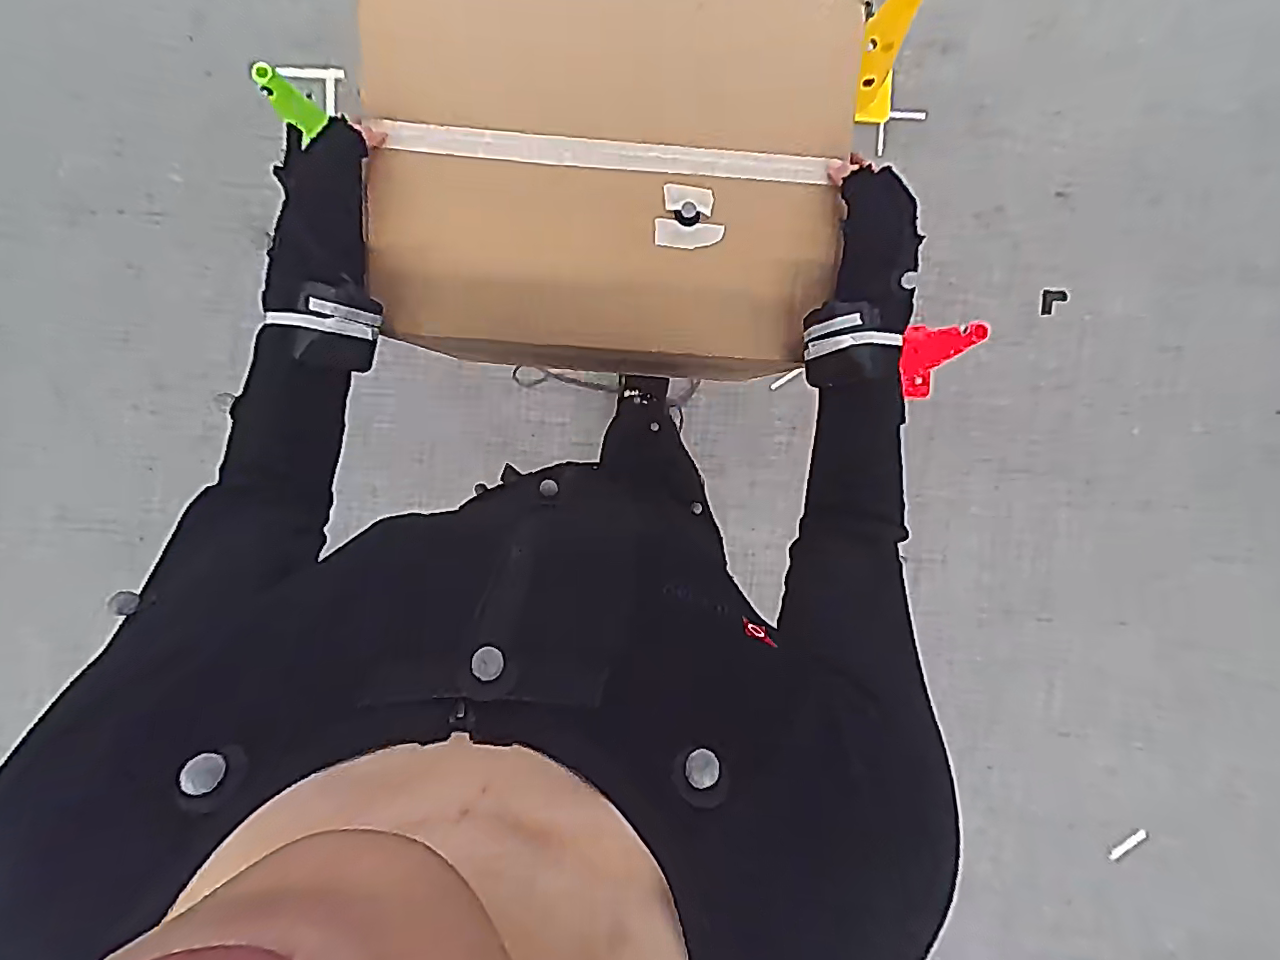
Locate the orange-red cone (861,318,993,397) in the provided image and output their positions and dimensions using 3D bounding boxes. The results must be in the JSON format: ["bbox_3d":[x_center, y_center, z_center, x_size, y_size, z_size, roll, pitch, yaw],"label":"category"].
[{"bbox_3d":[0.709,-0.326,1.303,0.198,0.360,0.199,1,91,-3],"label":"orange-red cone"}]

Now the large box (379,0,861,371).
[{"bbox_3d":[-0.028,-0.298,0.606,0.408,0.320,0.320,3,98,-4],"label":"large box"}]

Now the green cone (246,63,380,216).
[{"bbox_3d":[-0.749,-0.810,1.232,0.202,0.368,0.200,-34,92,1],"label":"green cone"}]
